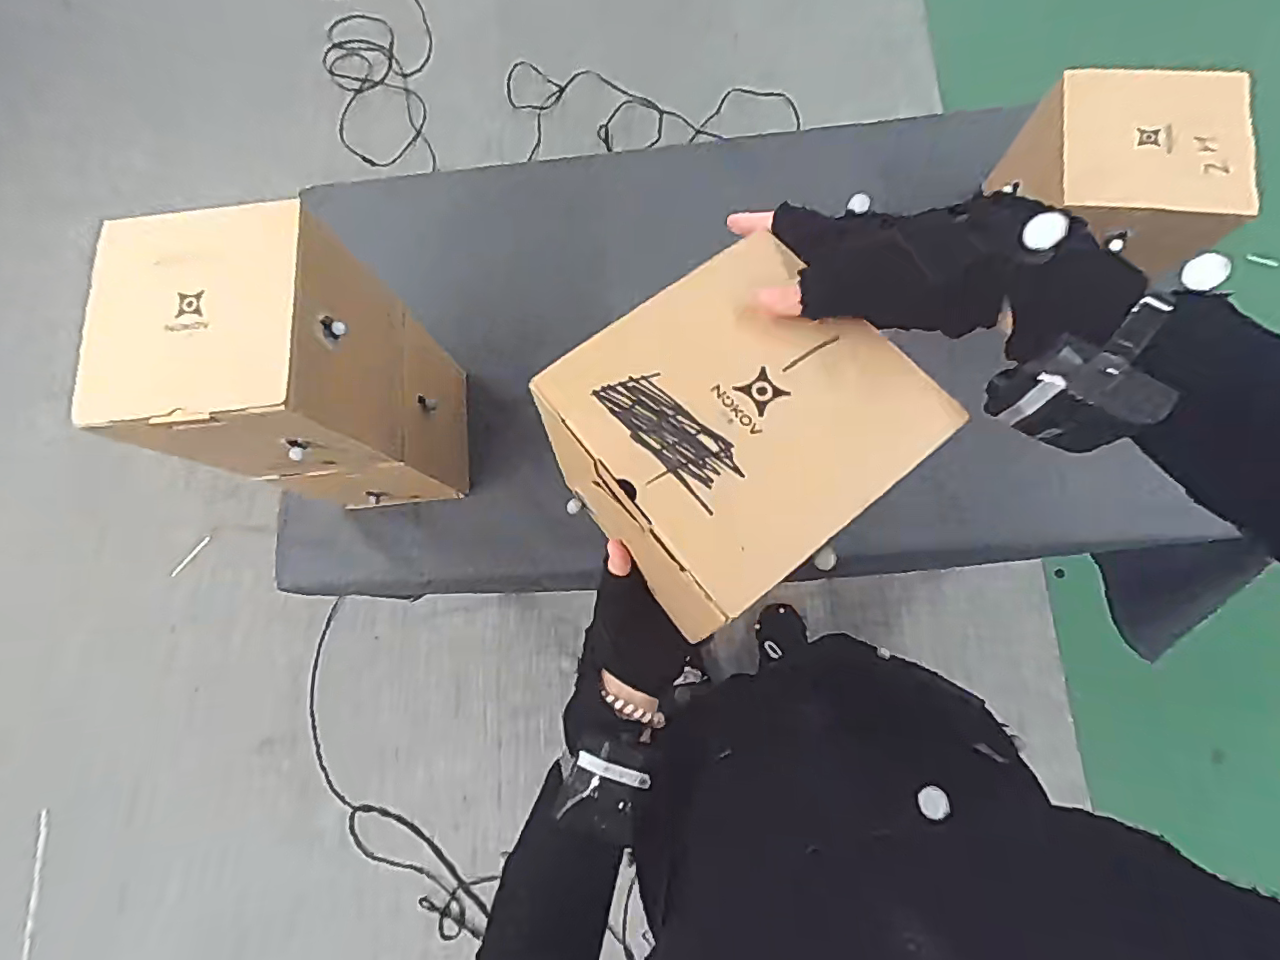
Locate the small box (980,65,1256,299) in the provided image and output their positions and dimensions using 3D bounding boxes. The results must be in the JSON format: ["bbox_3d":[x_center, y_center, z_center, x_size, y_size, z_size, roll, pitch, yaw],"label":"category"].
[{"bbox_3d":[0.520,-0.325,0.617,0.179,0.176,0.168,8,80,7],"label":"small box"}]

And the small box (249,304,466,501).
[{"bbox_3d":[-0.317,-0.081,0.642,0.168,0.176,0.179,-6,78,3],"label":"small box"}]

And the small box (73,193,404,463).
[{"bbox_3d":[-0.330,-0.116,0.483,0.168,0.176,0.179,-4,77,3],"label":"small box"}]

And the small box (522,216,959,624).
[{"bbox_3d":[0.052,-0.022,0.361,0.179,0.176,0.168,-37,75,-13],"label":"small box"}]
